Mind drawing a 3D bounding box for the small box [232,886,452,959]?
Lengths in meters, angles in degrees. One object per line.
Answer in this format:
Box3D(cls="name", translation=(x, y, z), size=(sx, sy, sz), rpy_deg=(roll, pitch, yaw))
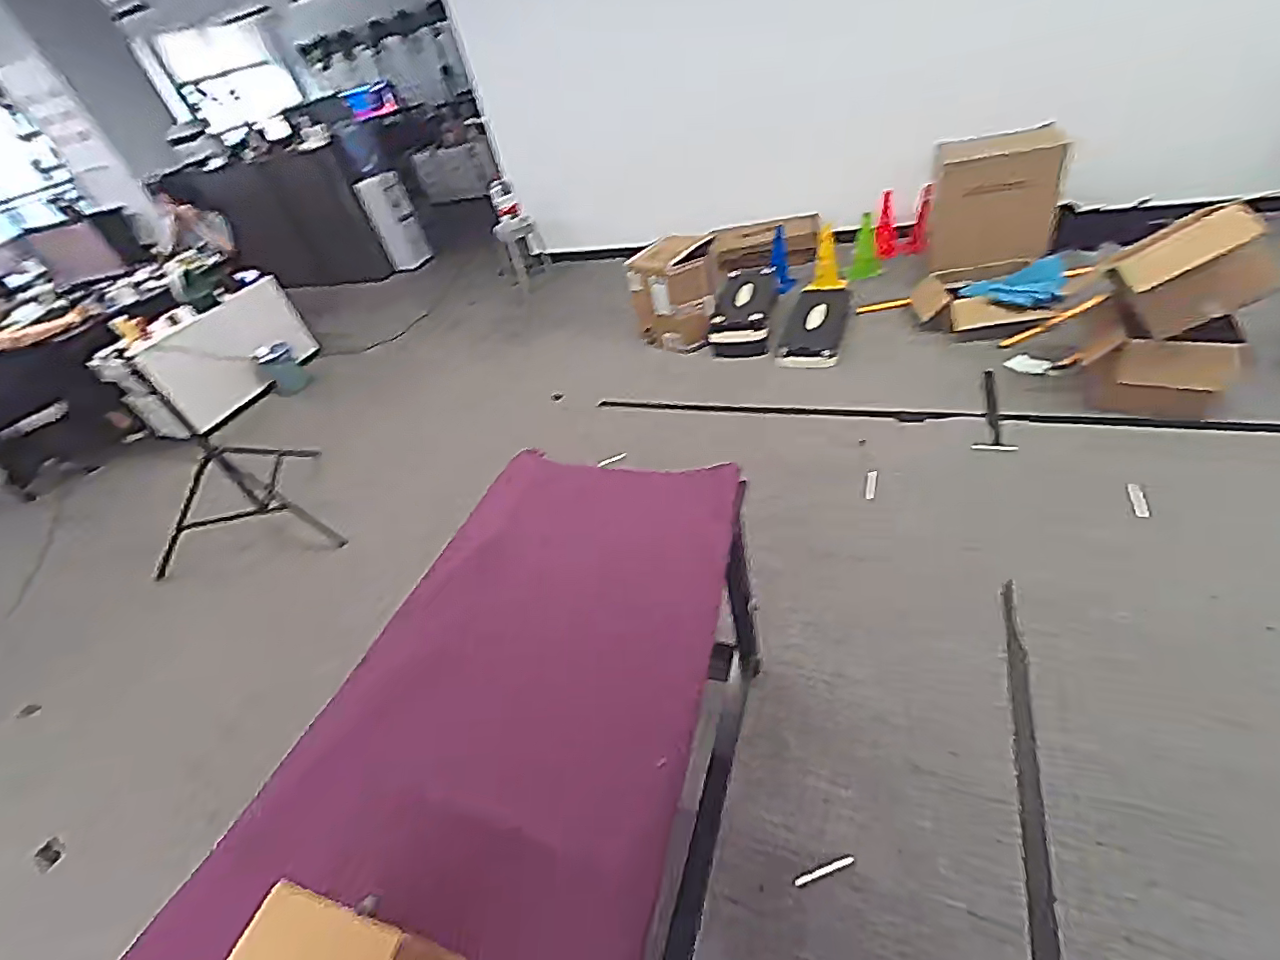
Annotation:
Box3D(cls="small box", translation=(-0.325, 0.563, 0.560), size=(0.179, 0.176, 0.168), rpy_deg=(3, 43, 19))
